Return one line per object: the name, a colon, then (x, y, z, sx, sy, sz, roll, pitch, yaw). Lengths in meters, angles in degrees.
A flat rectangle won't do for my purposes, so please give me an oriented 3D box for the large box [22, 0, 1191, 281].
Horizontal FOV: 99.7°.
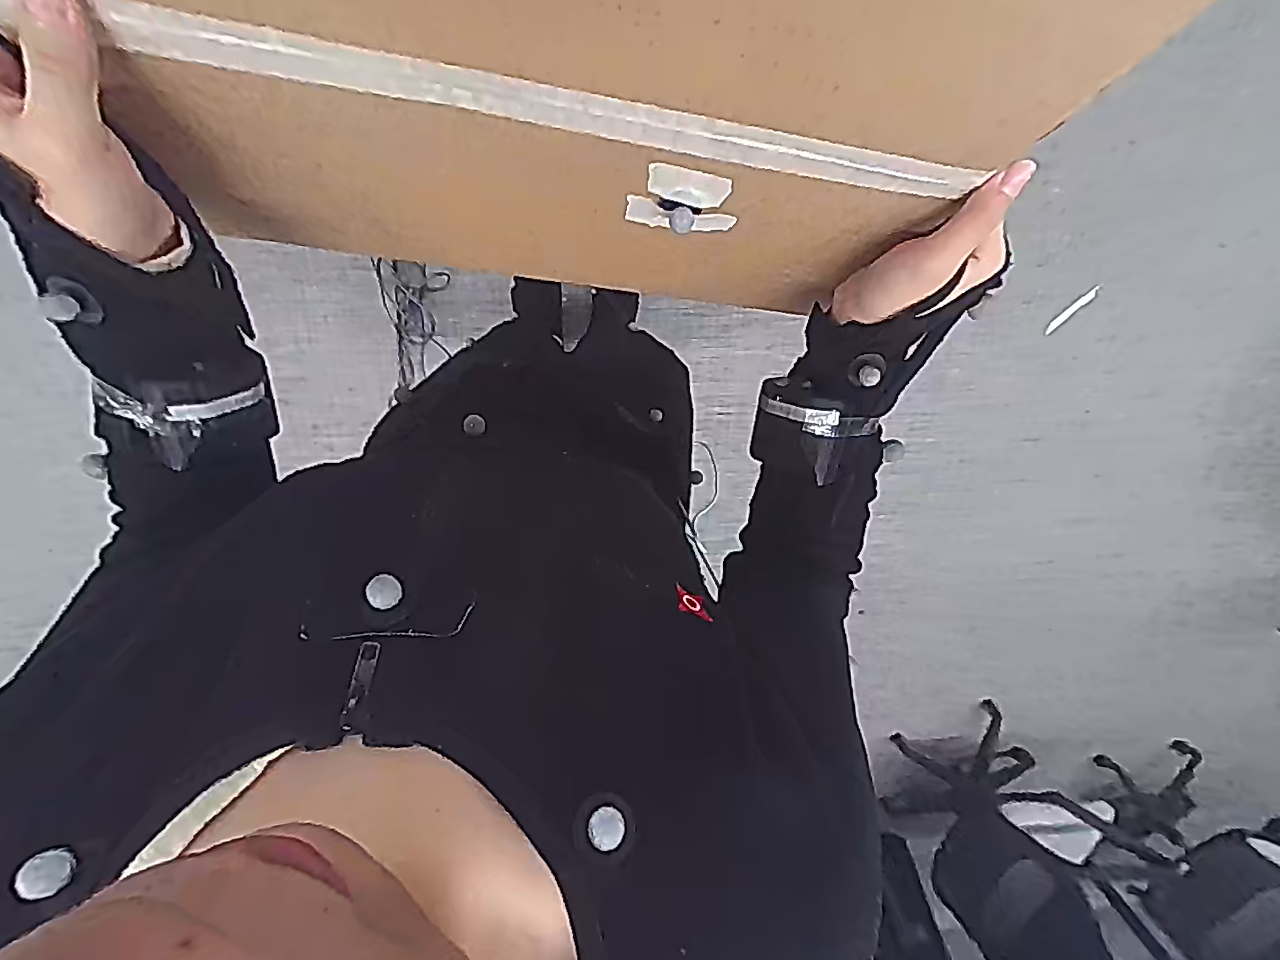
large box: (-0.018, -0.317, 0.218, 0.408, 0.320, 0.320, 3, 84, -10)
